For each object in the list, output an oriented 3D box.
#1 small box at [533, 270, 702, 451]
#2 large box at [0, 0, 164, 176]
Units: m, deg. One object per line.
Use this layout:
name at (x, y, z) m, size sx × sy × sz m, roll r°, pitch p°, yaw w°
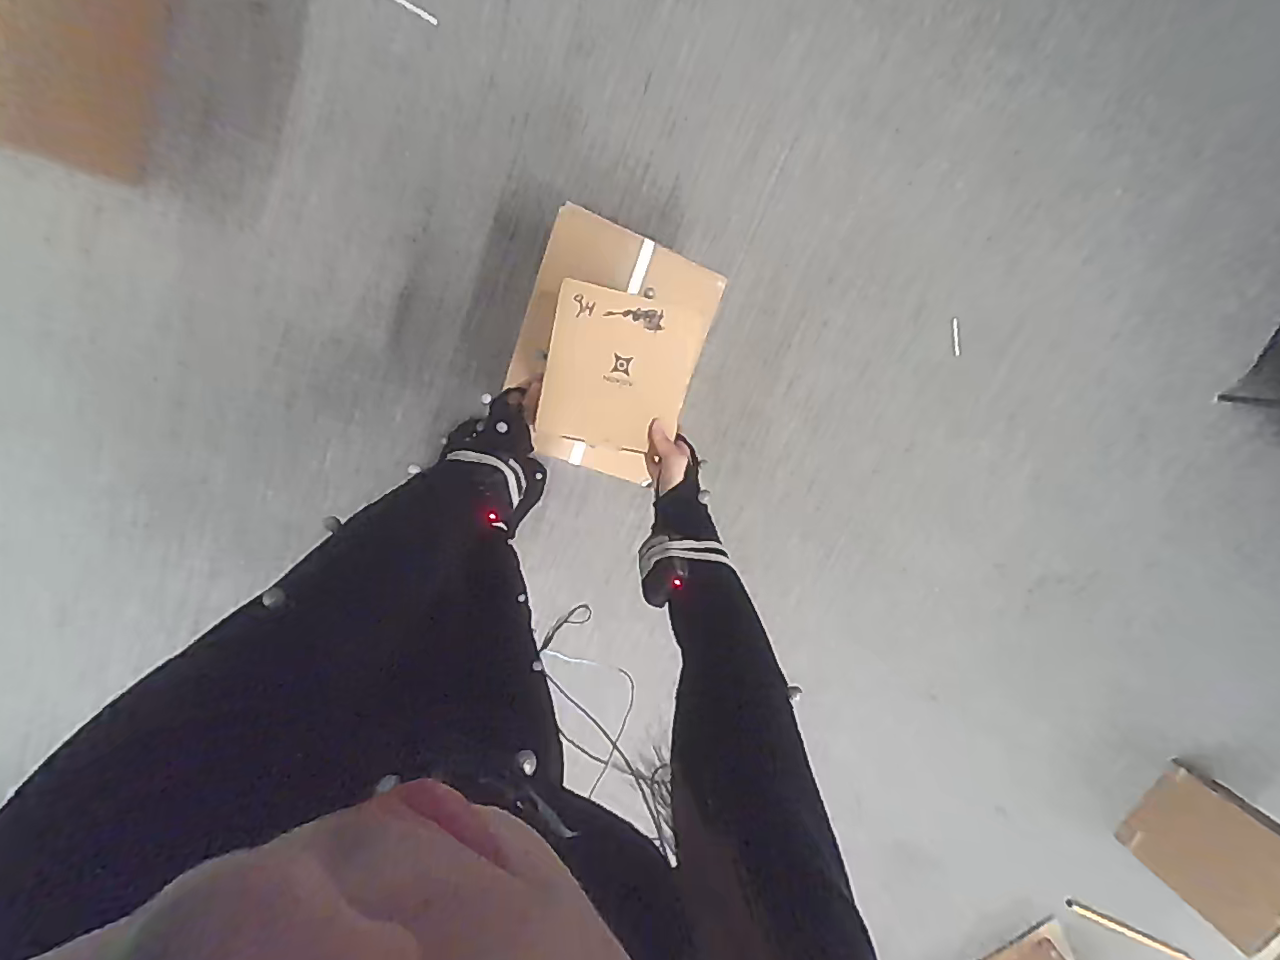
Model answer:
small box at (-0.037, -0.152, 0.695) m, size 0.168 × 0.176 × 0.179 m, roll 10°, pitch 103°, yaw -12°
large box at (-0.944, -0.721, 0.749) m, size 0.320 × 0.320 × 0.408 m, roll 18°, pitch 102°, yaw -17°
